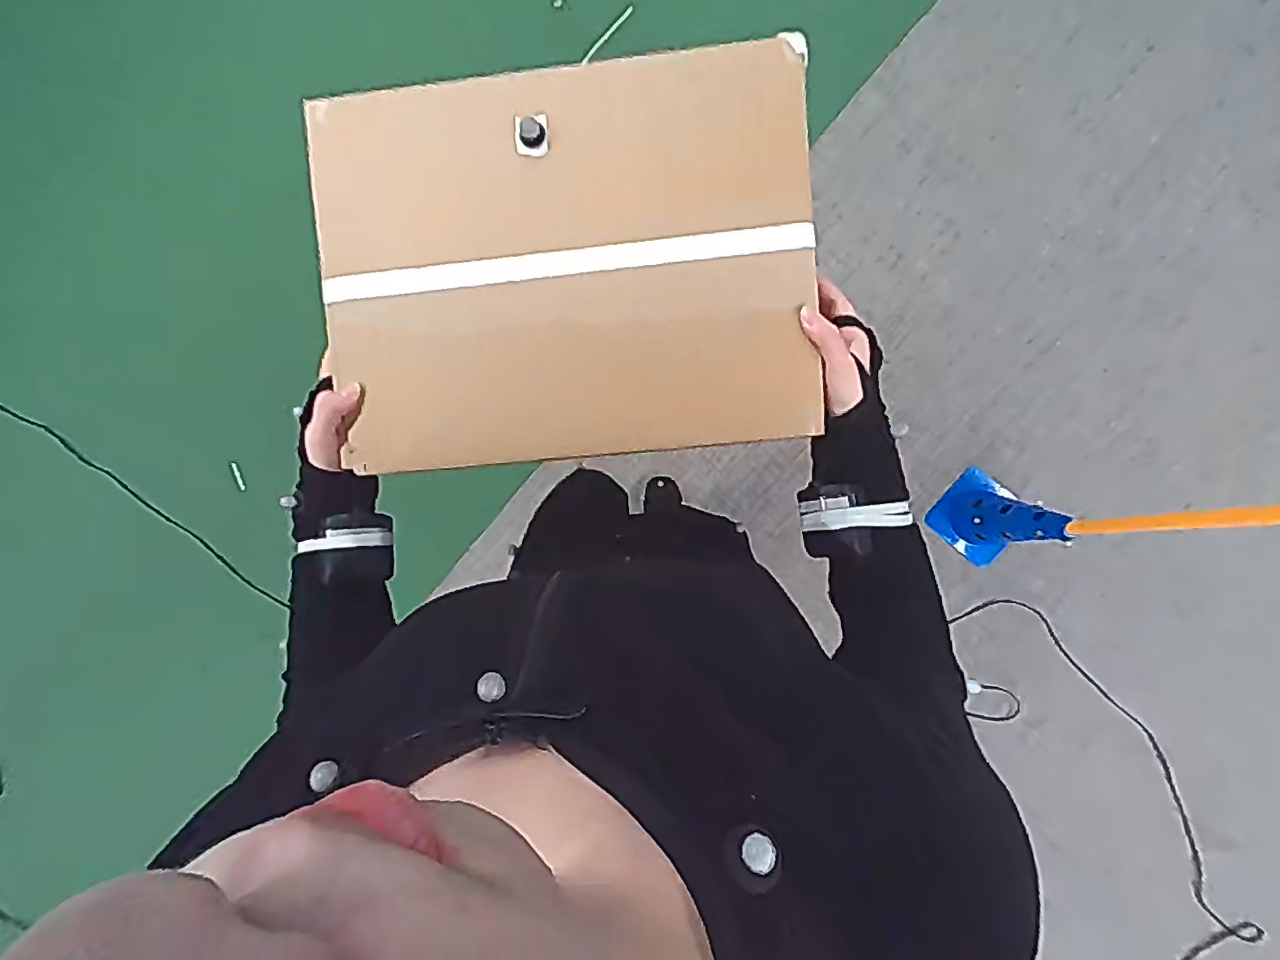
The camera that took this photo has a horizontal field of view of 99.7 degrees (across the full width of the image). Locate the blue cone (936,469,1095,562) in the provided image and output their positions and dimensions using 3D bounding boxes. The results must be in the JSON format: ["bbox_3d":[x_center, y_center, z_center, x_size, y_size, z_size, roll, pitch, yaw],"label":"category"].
[{"bbox_3d":[0.871,0.087,1.233,0.192,0.380,0.193,39,92,4],"label":"blue cone"}]
